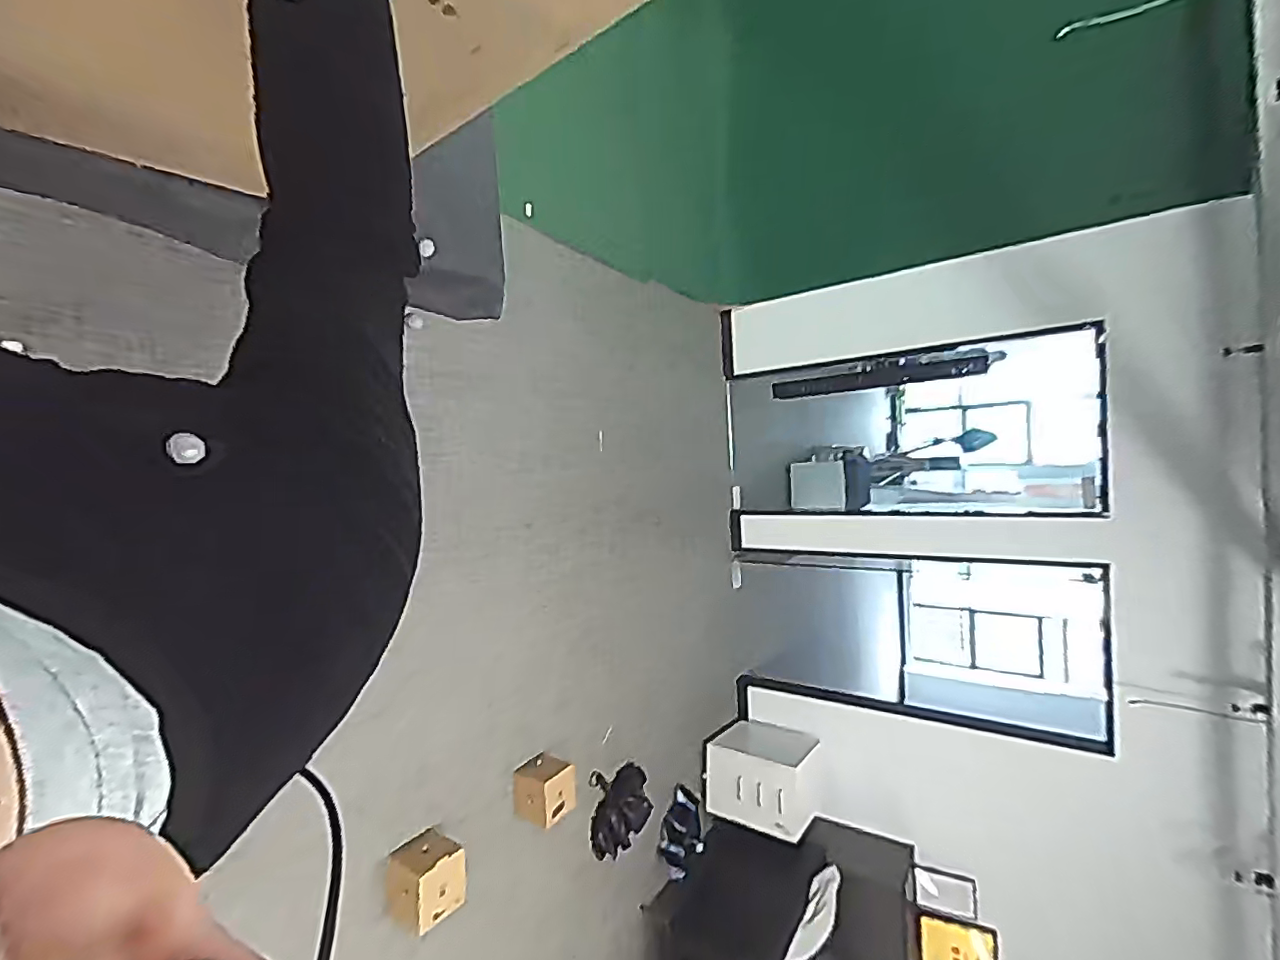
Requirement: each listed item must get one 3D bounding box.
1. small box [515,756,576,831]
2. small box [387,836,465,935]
[{"bbox_3d":[-0.370,1.218,2.113,0.168,0.176,0.179,-3,90,-56],"label":"small box"},{"bbox_3d":[-0.667,1.246,1.684,0.168,0.176,0.179,2,87,-56],"label":"small box"}]
